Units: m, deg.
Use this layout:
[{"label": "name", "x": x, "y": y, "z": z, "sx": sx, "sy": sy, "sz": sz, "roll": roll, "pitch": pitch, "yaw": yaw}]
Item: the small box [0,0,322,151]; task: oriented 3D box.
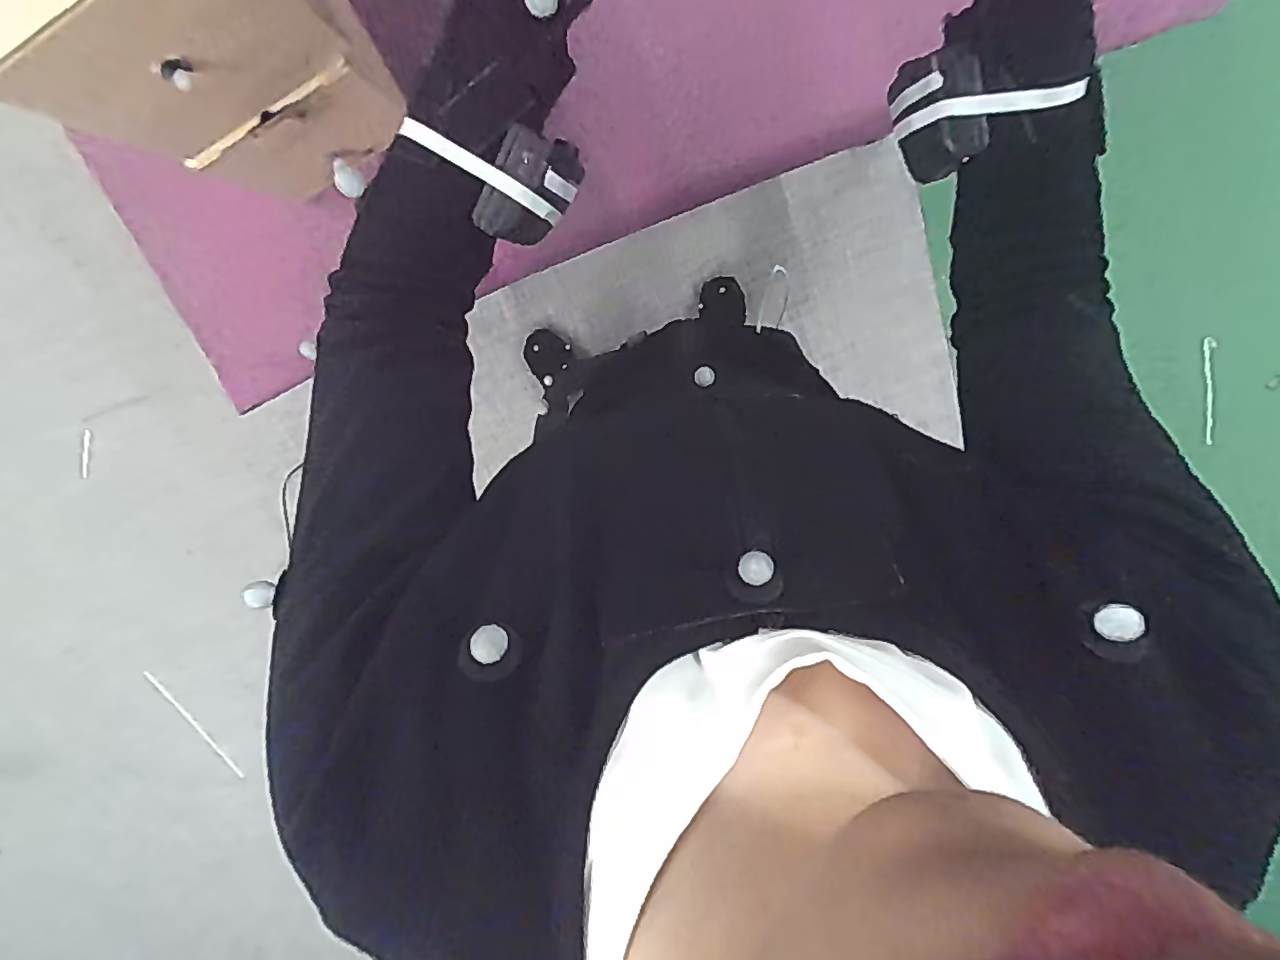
[{"label": "small box", "x": -0.342, "y": -0.347, "z": 0.340, "sx": 0.179, "sy": 0.176, "sz": 0.168, "roll": -25, "pitch": 106, "yaw": 6}]

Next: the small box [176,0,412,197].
[{"label": "small box", "x": -0.351, "y": -0.395, "z": 0.500, "sx": 0.168, "sy": 0.176, "sz": 0.179, "roll": -27, "pitch": 108, "yaw": 8}]
